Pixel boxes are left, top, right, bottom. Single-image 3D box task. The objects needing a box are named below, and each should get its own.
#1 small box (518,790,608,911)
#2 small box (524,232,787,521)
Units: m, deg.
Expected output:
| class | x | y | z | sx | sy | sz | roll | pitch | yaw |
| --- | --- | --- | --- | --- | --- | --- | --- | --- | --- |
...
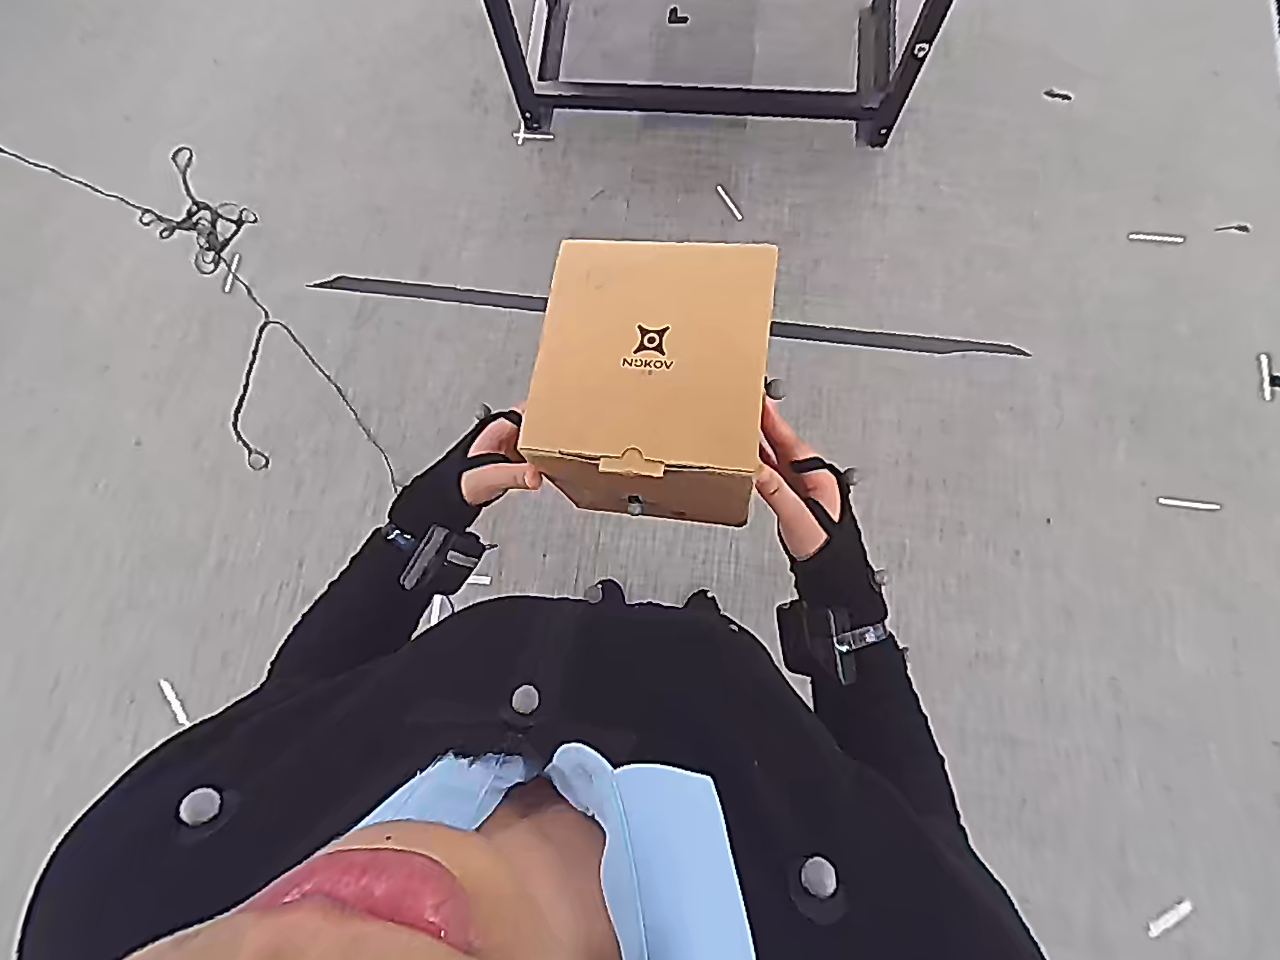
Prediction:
| class | x | y | z | sx | sy | sz | roll | pitch | yaw |
| --- | --- | --- | --- | --- | --- | --- | --- | --- | --- |
| small box | -0.177 | 0.879 | 1.305 | 0.168 | 0.176 | 0.179 | 10 | 80 | 6 |
| small box | 0.023 | -0.075 | 0.452 | 0.168 | 0.176 | 0.179 | 6 | 75 | 10 |
